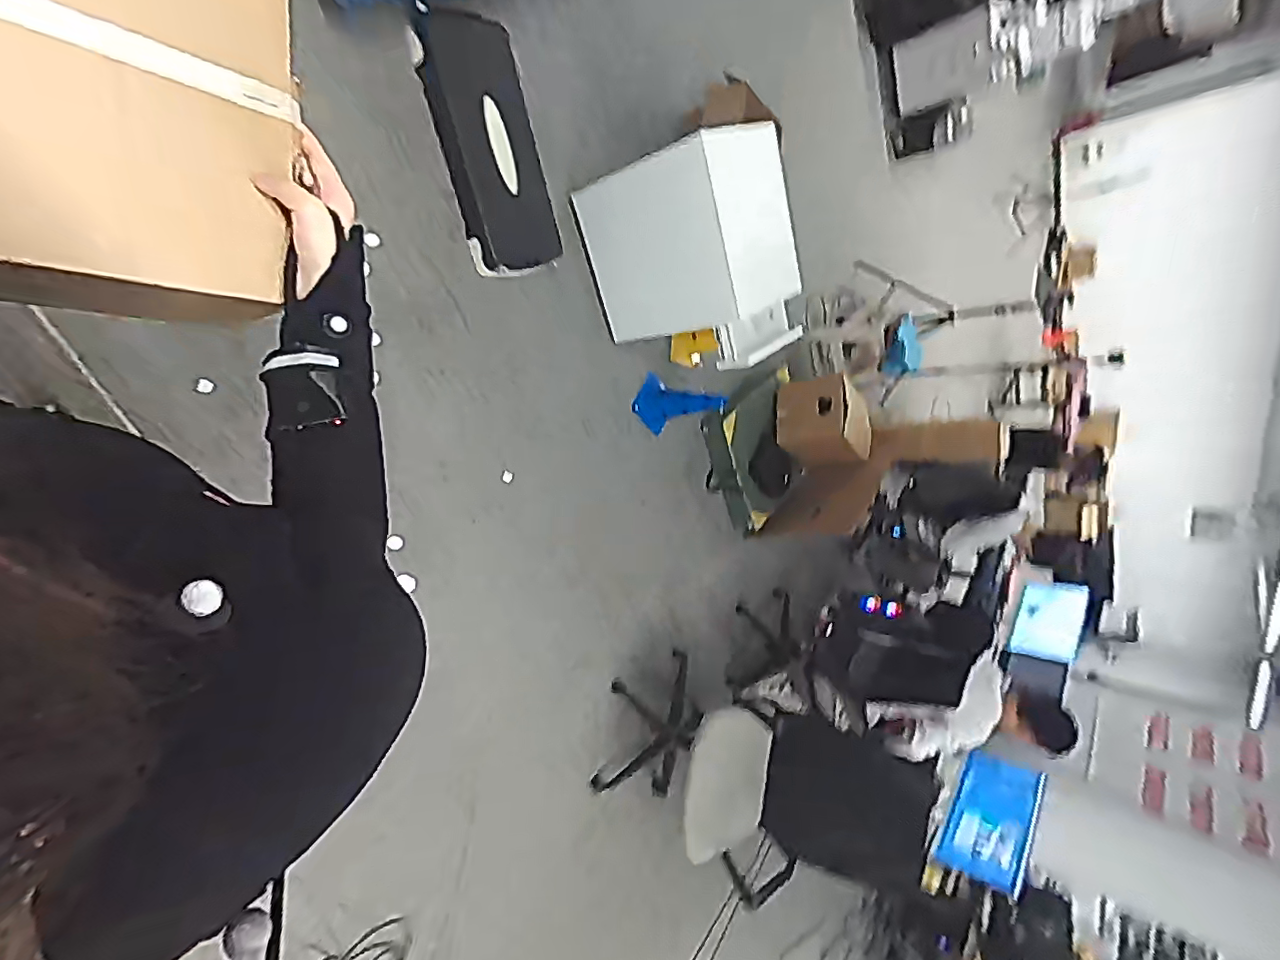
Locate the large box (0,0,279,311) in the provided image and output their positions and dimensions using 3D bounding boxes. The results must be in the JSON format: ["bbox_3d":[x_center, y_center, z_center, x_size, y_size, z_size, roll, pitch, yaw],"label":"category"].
[{"bbox_3d":[-0.553,-0.320,0.419,0.408,0.320,0.320,-5,101,-43],"label":"large box"}]
